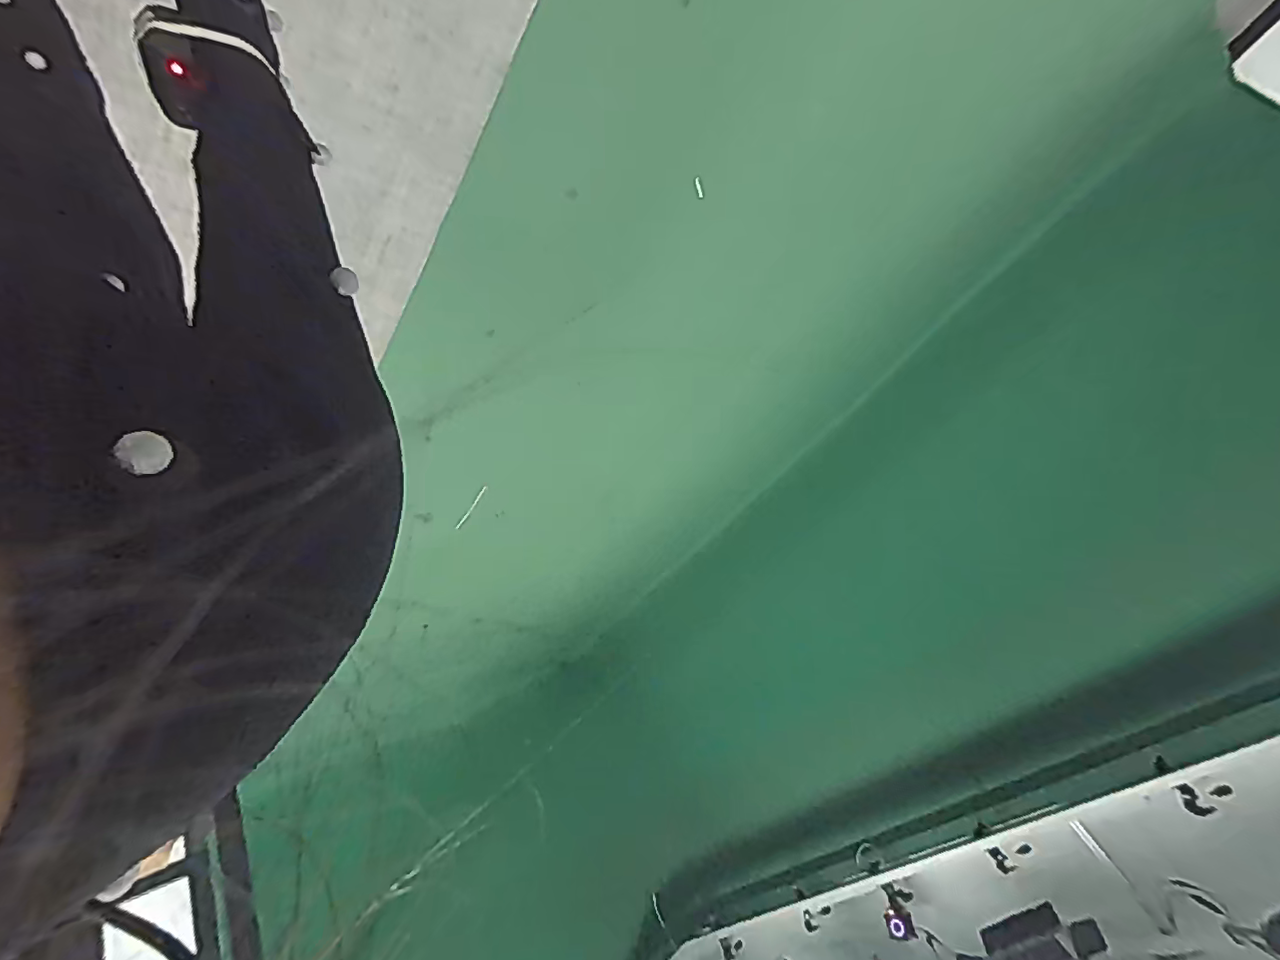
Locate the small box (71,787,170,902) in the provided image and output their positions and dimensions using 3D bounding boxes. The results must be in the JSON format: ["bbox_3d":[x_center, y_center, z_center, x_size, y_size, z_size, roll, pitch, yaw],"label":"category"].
[{"bbox_3d":[-1.312,0.908,1.362,0.168,0.176,0.179,-1,141,-47],"label":"small box"}]
